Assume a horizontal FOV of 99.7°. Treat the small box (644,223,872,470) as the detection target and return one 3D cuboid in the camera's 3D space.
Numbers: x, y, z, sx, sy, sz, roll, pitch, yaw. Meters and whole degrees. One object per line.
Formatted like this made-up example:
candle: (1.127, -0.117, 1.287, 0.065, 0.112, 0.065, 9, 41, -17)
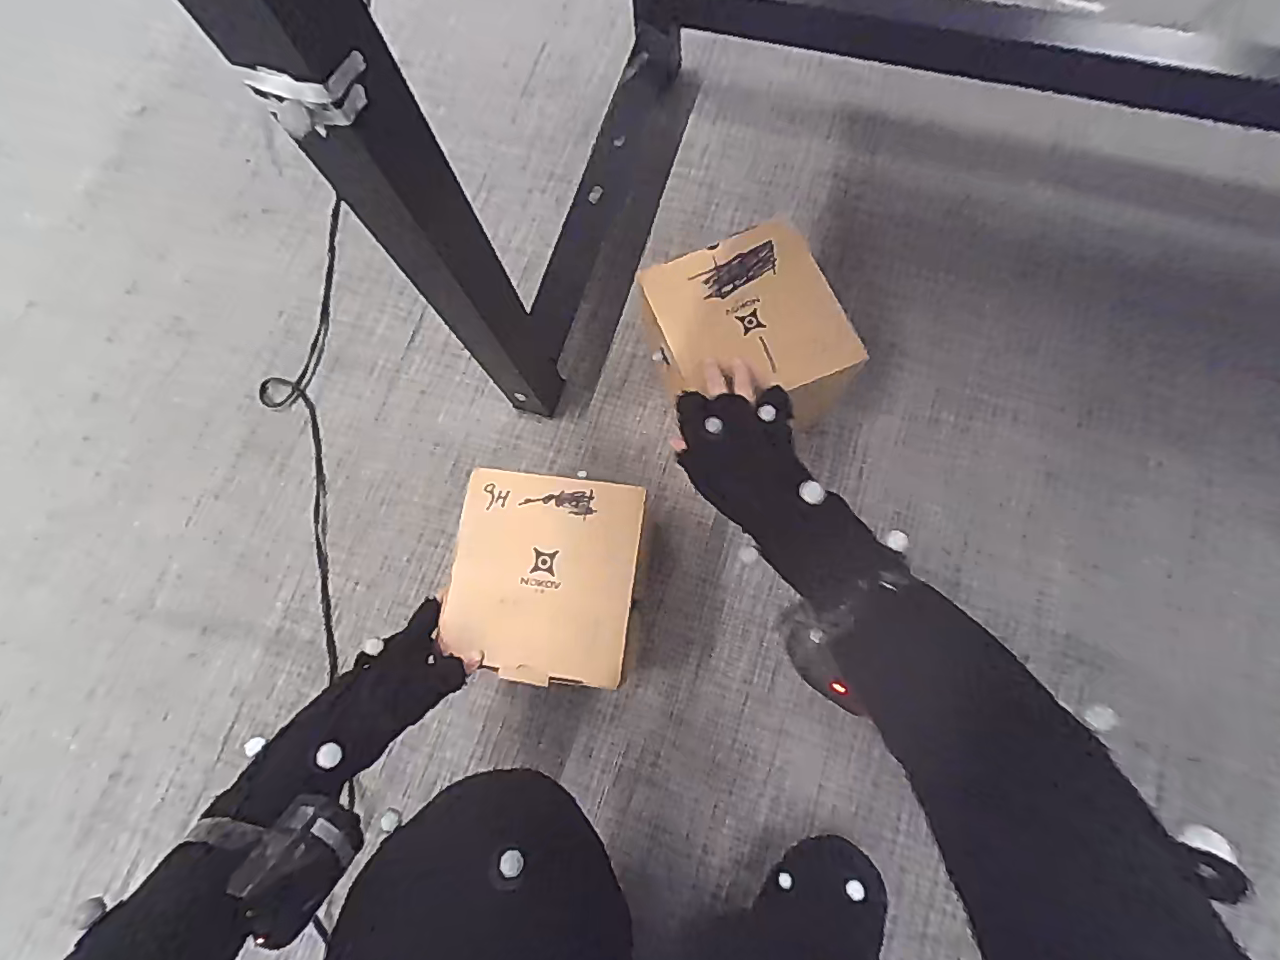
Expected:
small box: (0.114, -0.134, 0.597, 0.168, 0.176, 0.179, -24, 77, -1)
